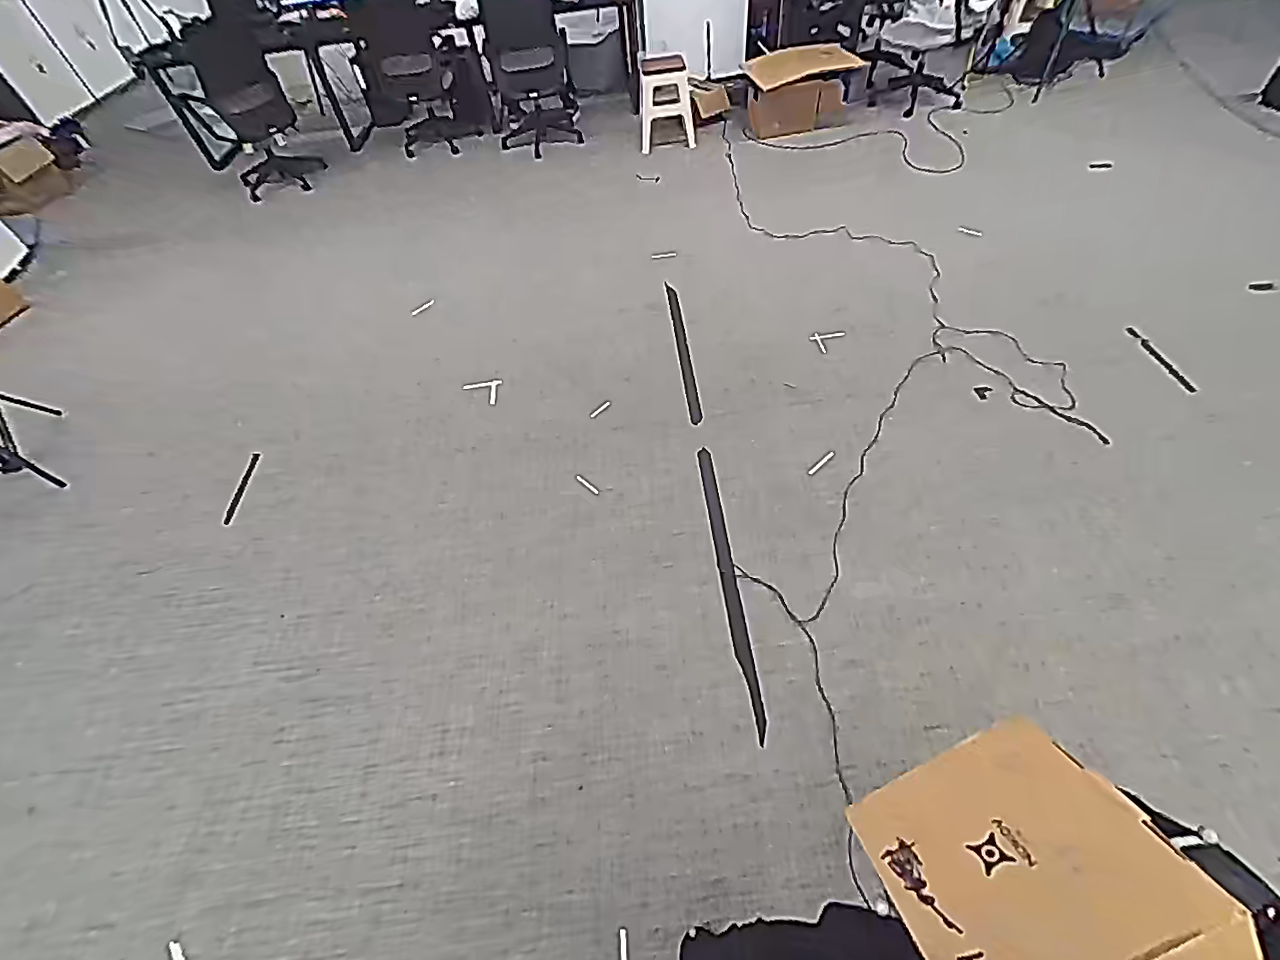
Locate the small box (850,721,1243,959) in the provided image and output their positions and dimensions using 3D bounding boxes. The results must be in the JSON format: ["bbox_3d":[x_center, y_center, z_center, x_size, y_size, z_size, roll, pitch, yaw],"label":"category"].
[{"bbox_3d":[0.304,0.337,0.419,0.179,0.176,0.168,-29,14,2],"label":"small box"}]
